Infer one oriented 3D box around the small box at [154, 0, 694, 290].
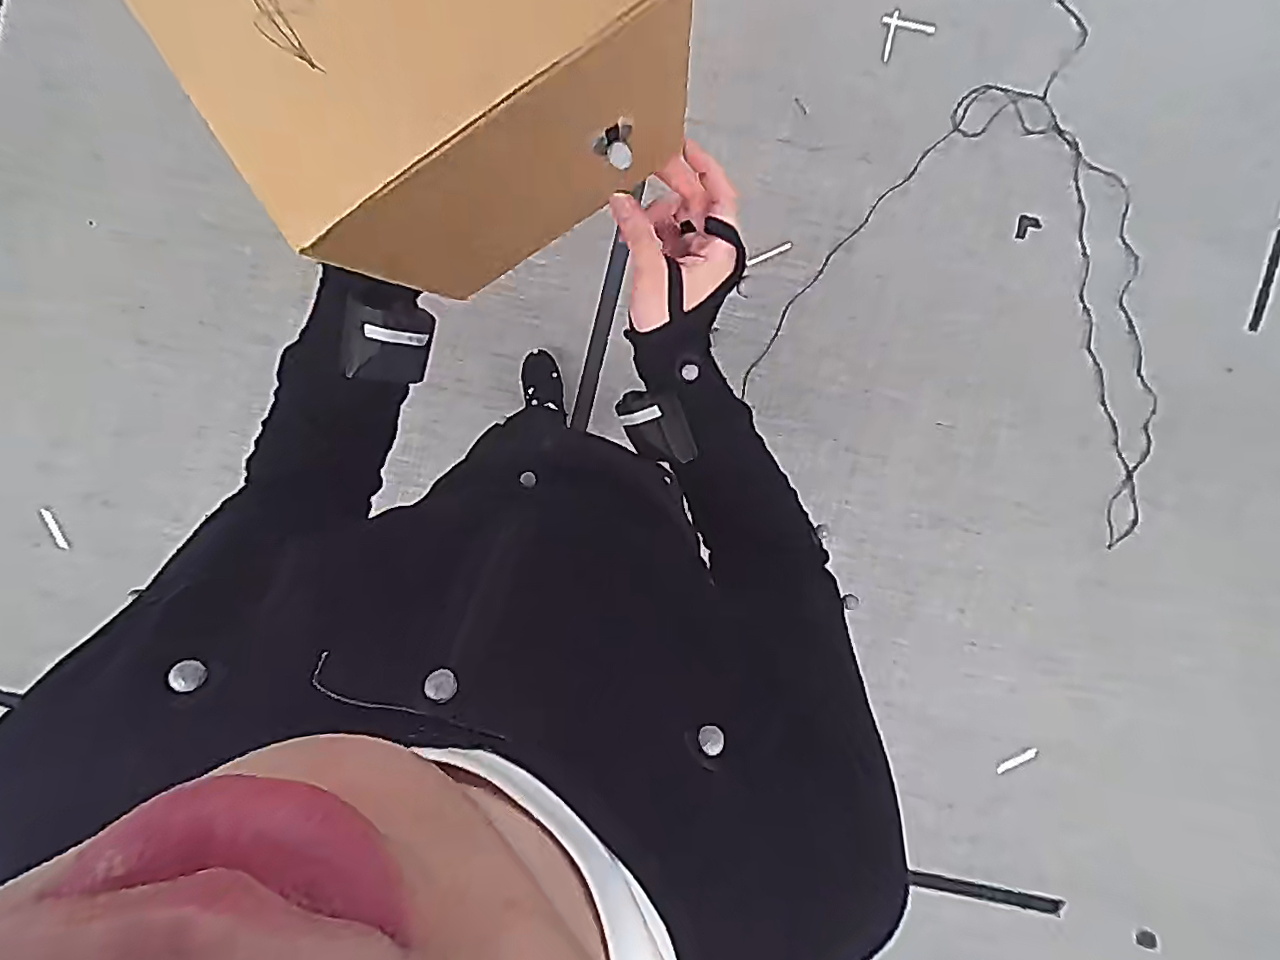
[{"bbox_3d":[-0.090,-0.218,0.268,0.179,0.176,0.168,-30,98,9],"label":"small box"}]
